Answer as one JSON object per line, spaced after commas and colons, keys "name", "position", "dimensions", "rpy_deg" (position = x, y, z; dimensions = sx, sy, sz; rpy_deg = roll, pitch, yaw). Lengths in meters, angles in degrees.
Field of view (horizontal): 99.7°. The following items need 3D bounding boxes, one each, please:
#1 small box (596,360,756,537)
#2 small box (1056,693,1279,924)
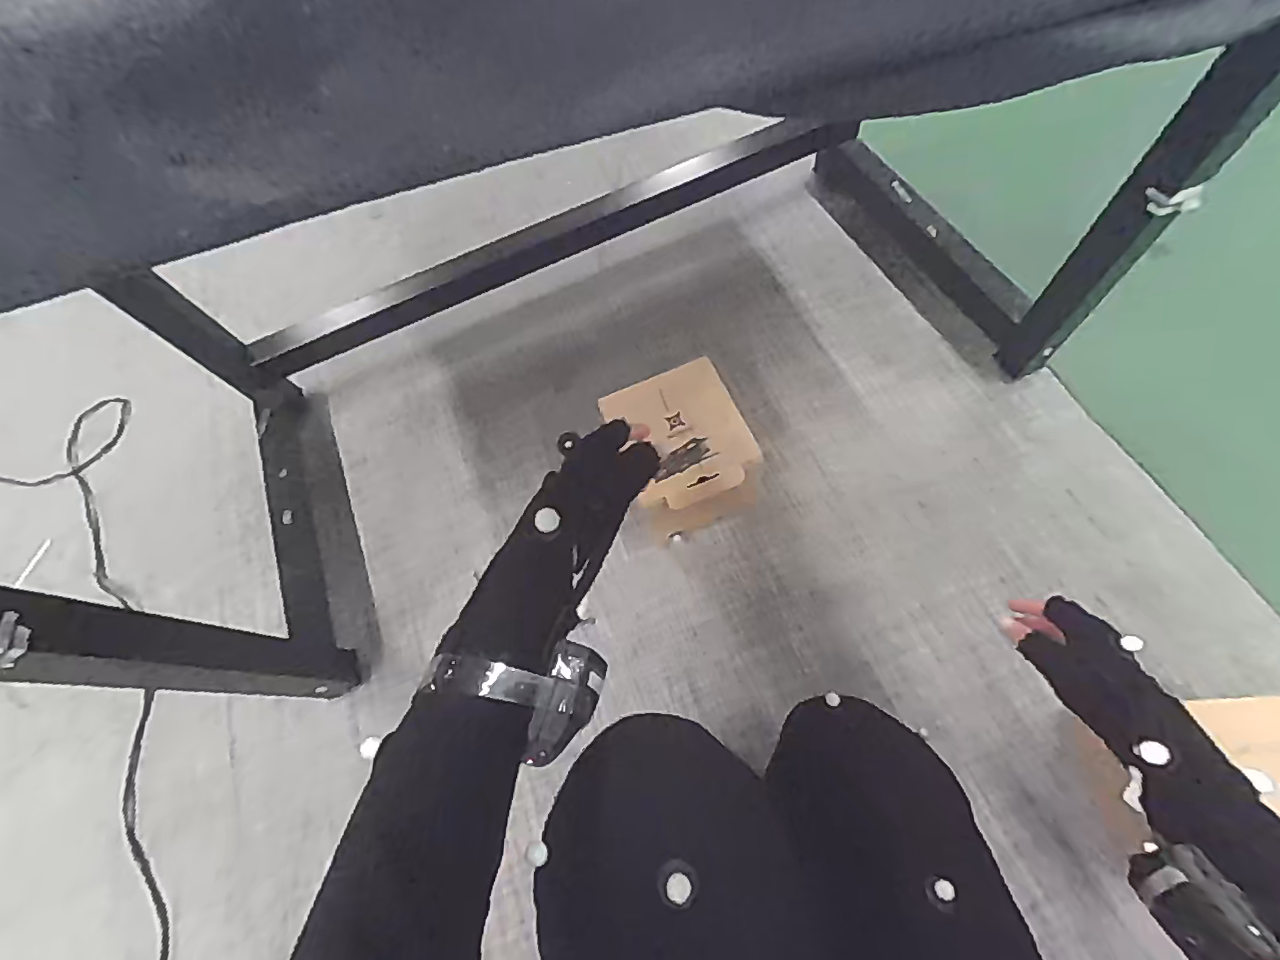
{"name": "small box", "position": [0.055, -0.033, 0.777], "dimensions": [0.168, 0.176, 0.179], "rpy_deg": [-22, 64, -2]}
{"name": "small box", "position": [0.580, 0.315, 0.549], "dimensions": [0.168, 0.176, 0.179], "rpy_deg": [-5, 65, 4]}
